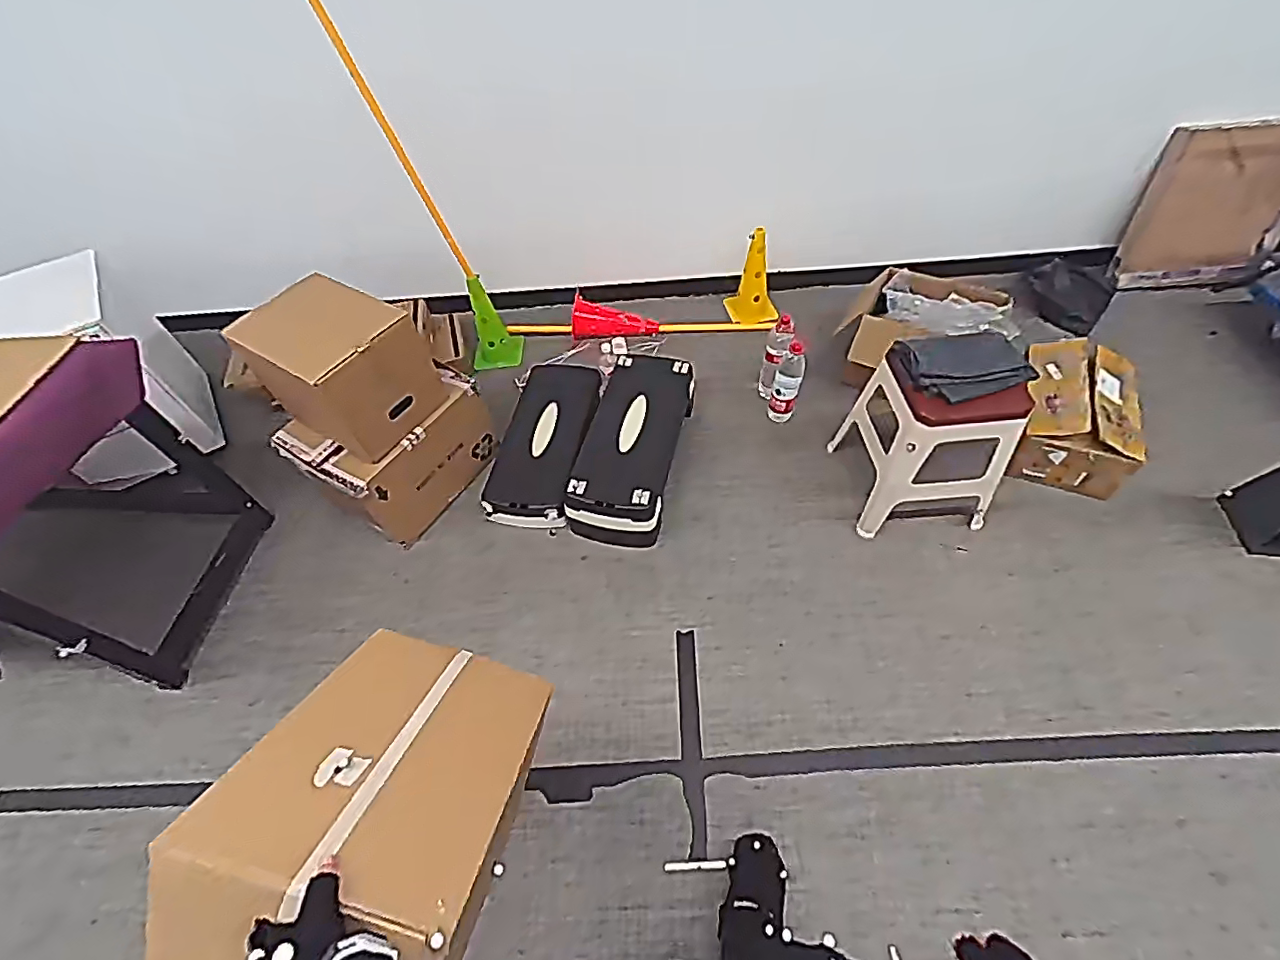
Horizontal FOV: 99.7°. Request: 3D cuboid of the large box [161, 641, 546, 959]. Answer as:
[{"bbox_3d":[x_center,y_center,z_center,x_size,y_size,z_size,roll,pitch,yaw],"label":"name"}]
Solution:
[{"bbox_3d":[-0.361,0.507,0.772,0.320,0.320,0.408,16,17,1],"label":"large box"}]
